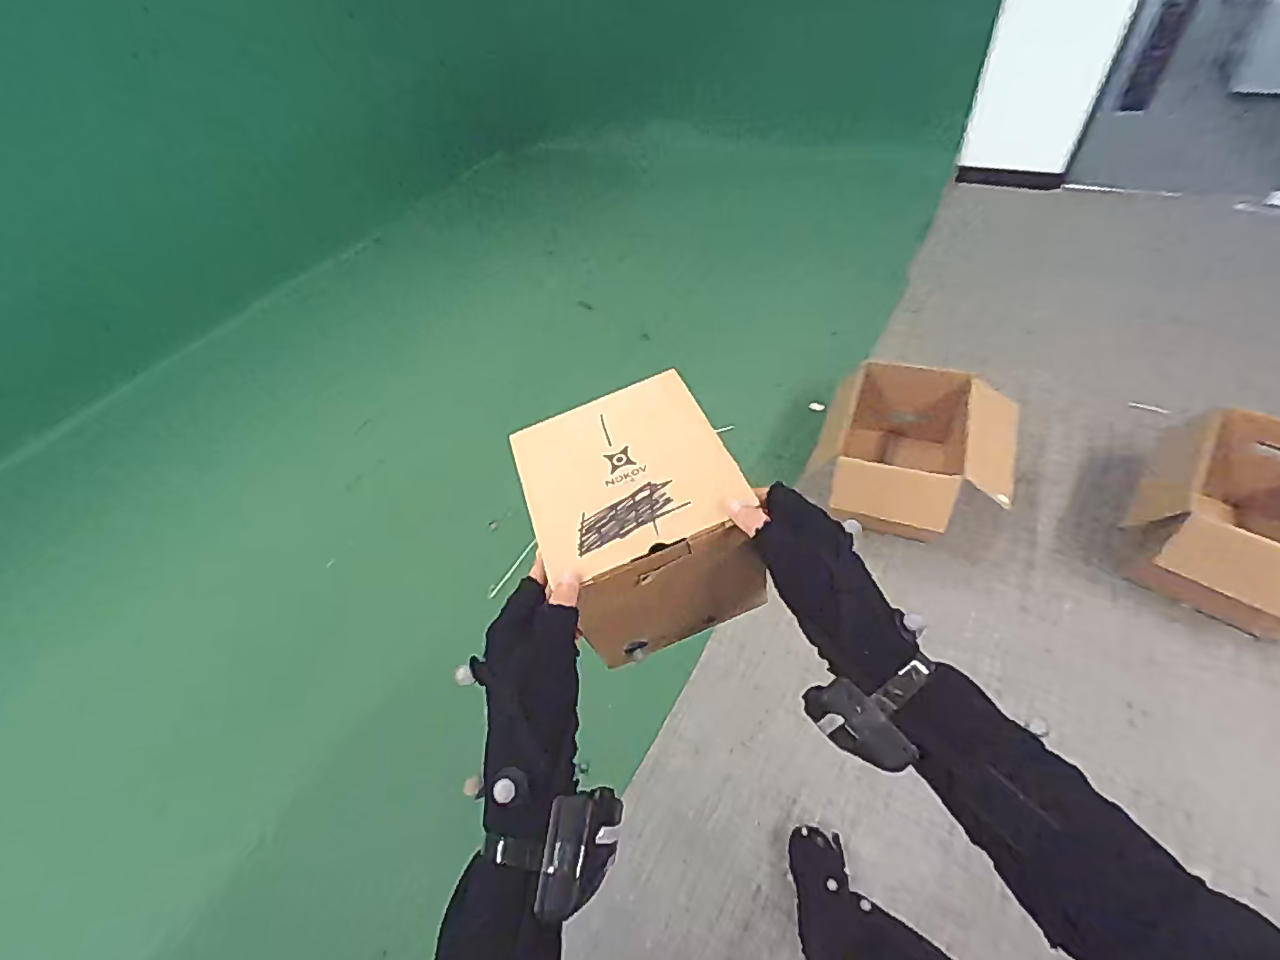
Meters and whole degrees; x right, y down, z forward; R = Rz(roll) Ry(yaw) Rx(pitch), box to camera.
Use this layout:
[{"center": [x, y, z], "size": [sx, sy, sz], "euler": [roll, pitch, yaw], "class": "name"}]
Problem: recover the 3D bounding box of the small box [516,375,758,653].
[{"center": [0.002, 0.040, 0.504], "size": [0.168, 0.176, 0.179], "euler": [-20, 50, -3], "class": "small box"}]
